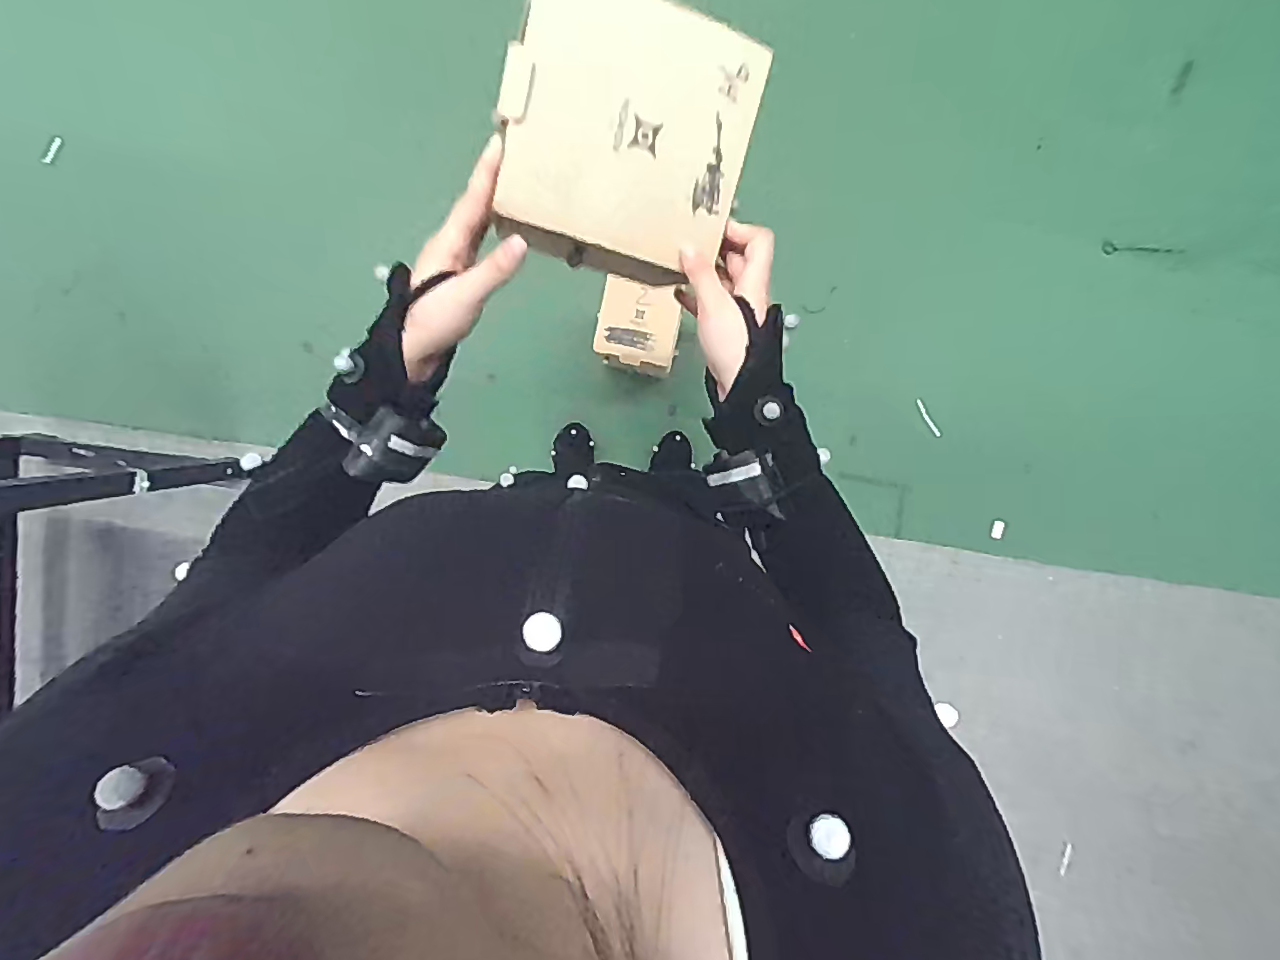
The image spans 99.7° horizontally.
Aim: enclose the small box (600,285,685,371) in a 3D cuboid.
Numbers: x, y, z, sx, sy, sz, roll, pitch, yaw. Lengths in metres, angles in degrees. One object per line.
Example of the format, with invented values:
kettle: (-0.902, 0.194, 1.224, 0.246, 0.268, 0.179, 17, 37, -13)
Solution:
small box: (0.005, -0.373, 1.357, 0.179, 0.176, 0.168, 12, 97, -1)
